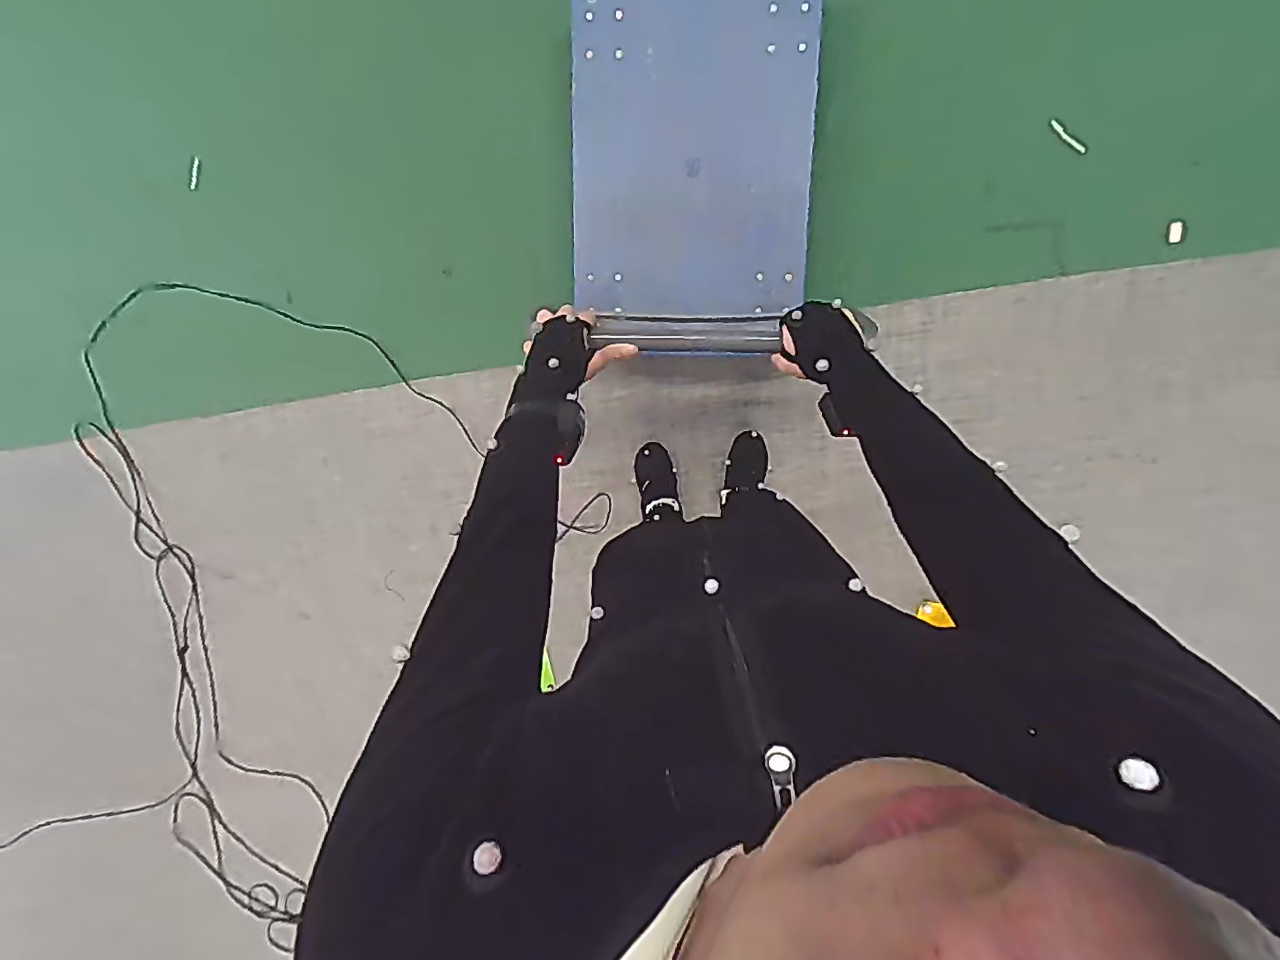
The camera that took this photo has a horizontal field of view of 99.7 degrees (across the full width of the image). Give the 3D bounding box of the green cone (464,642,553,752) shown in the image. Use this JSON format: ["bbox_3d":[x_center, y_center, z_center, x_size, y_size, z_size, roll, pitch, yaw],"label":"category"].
[{"bbox_3d":[-0.412,0.652,1.575,0.202,0.368,0.200,-11,99,8],"label":"green cone"}]
